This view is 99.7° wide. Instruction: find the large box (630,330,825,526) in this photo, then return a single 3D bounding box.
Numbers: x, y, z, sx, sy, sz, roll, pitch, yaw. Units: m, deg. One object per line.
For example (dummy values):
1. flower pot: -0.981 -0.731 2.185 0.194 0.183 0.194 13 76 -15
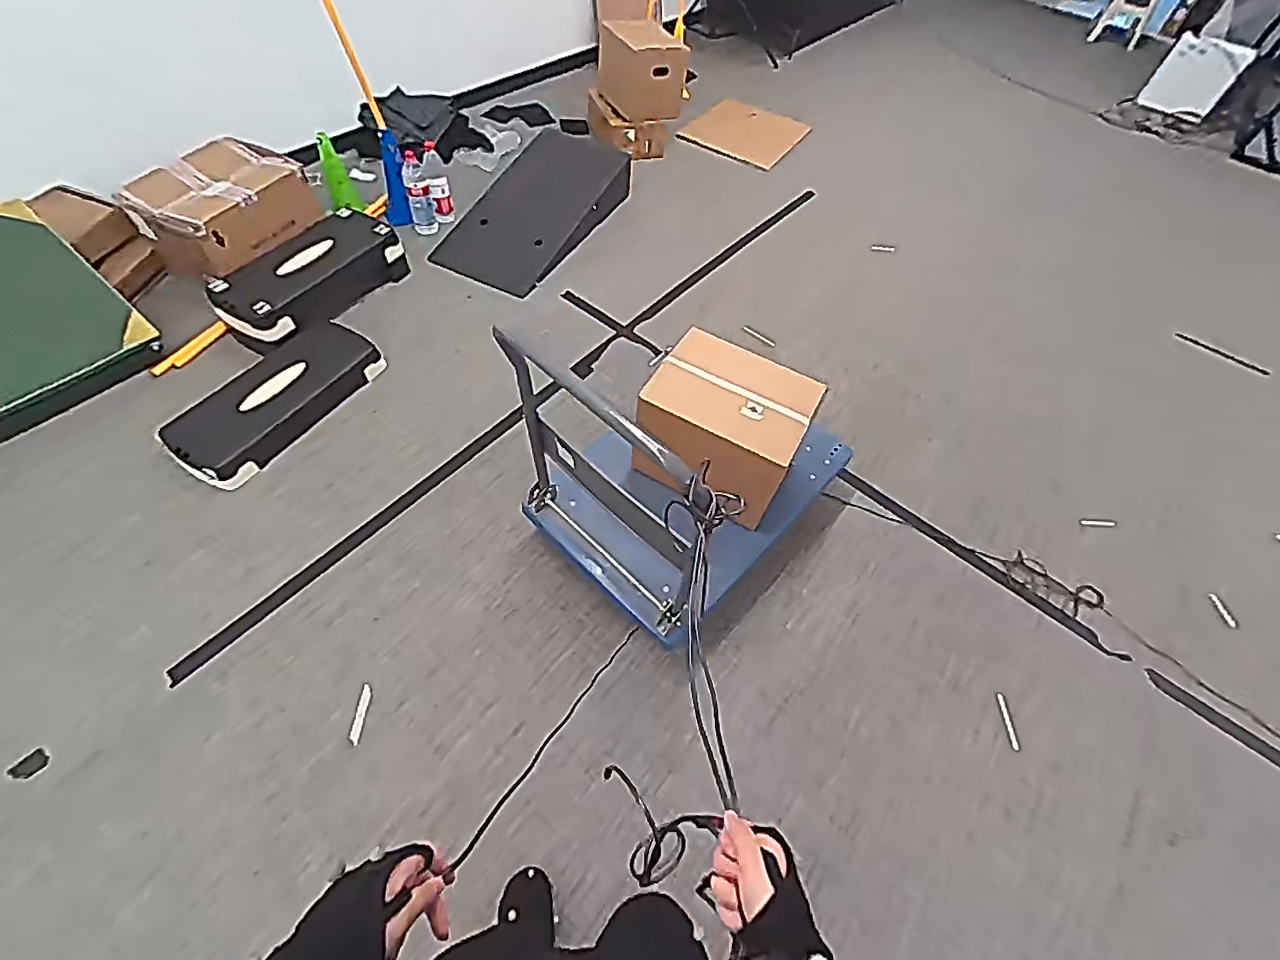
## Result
1. large box: 0.224 -0.141 1.495 0.408 0.320 0.320 28 59 12
